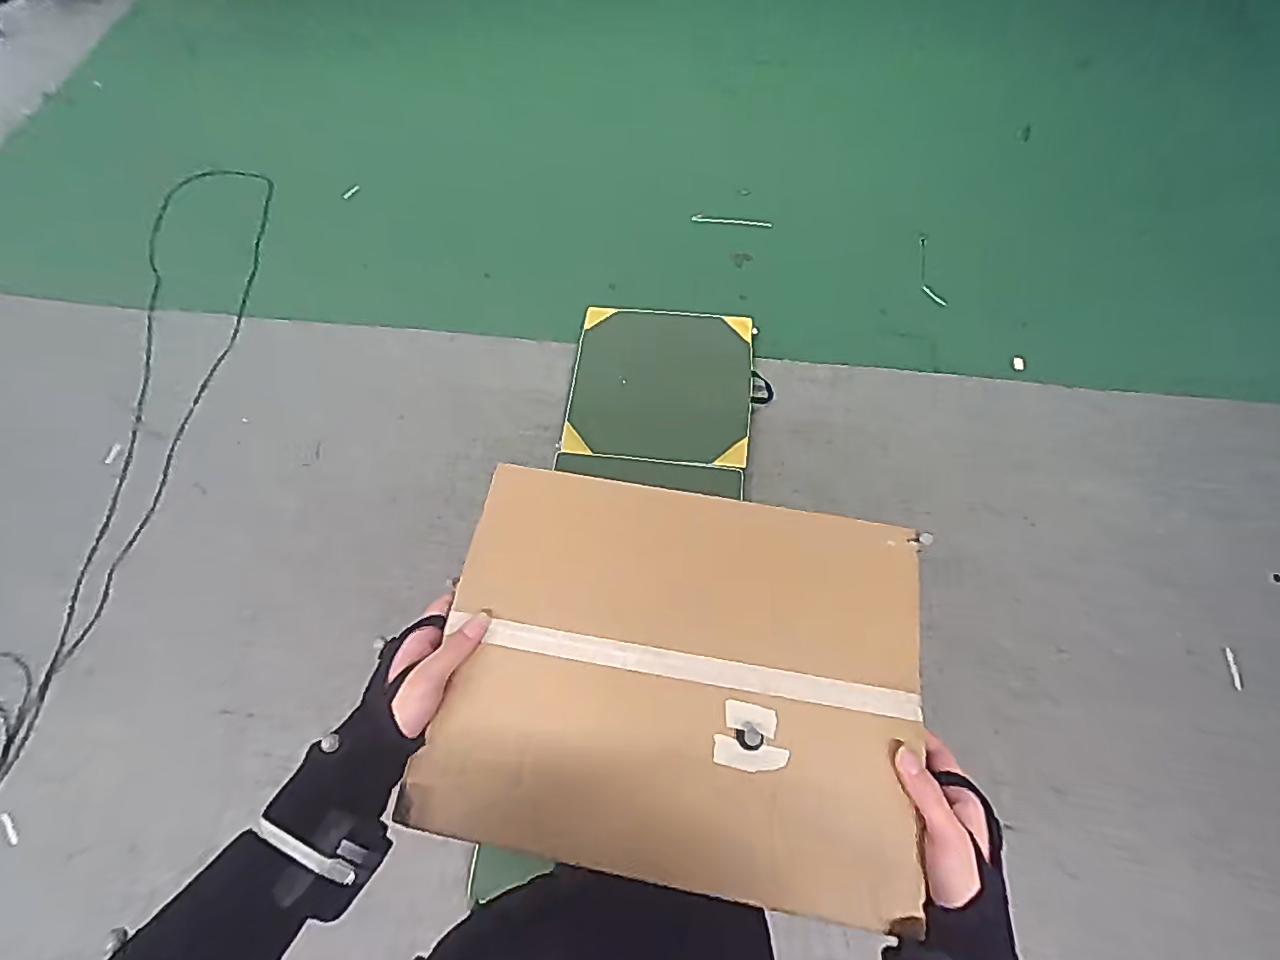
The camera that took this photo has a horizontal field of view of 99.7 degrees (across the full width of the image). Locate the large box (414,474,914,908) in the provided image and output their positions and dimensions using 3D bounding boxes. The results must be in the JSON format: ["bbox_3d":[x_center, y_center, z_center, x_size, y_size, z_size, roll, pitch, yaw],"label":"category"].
[{"bbox_3d":[0.034,0.217,0.614,0.408,0.320,0.320,9,68,4],"label":"large box"}]
